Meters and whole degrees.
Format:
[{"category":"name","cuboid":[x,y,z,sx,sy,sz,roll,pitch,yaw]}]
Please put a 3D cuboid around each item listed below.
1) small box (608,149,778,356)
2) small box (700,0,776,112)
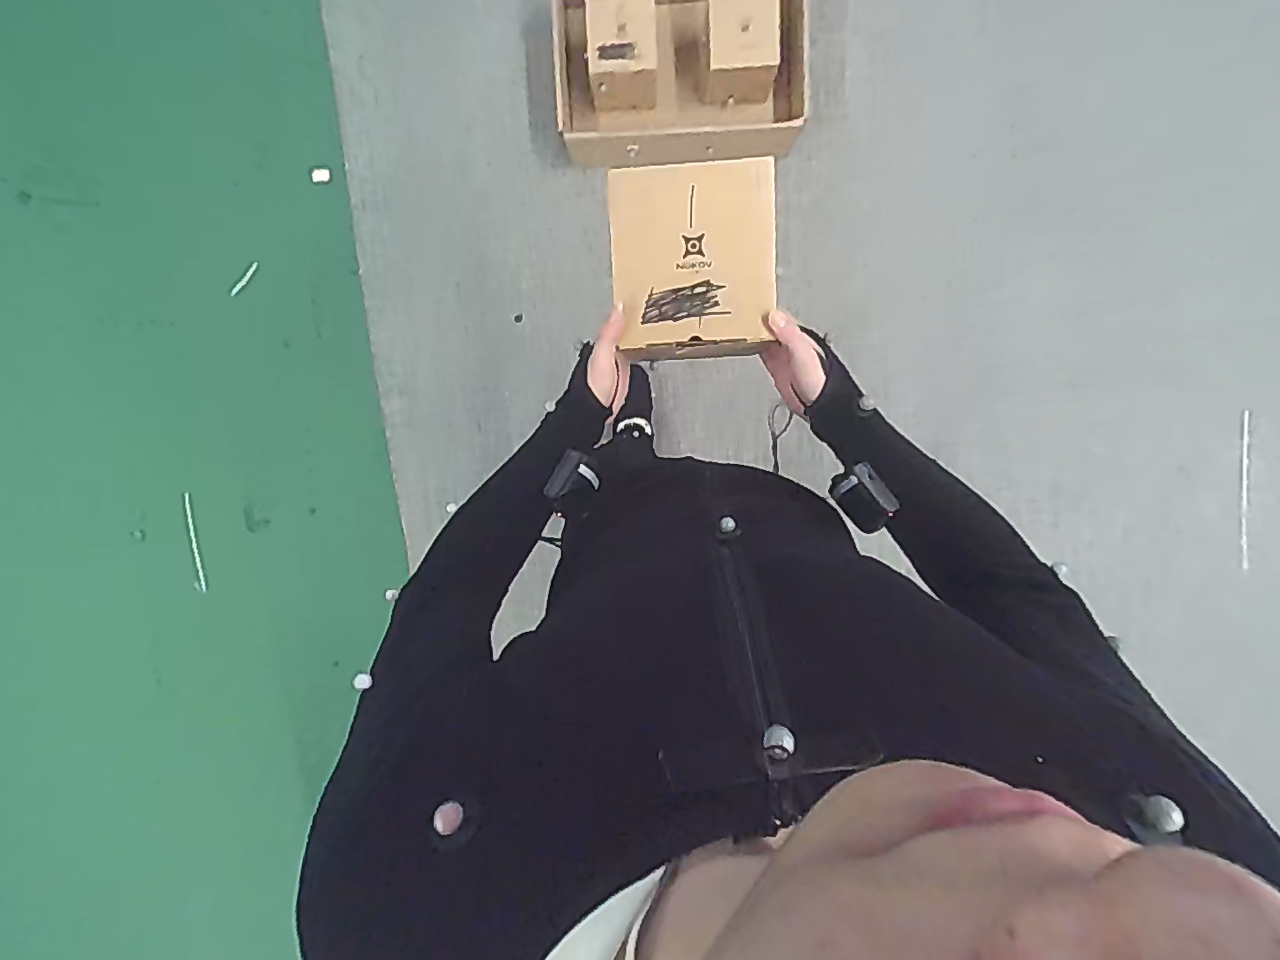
[{"category":"small box","cuboid":[0.058,-0.236,0.609,0.168,0.176,0.179,-2,96,4]},{"category":"small box","cuboid":[0.241,-1.063,1.354,0.168,0.176,0.179,-2,96,2]}]
